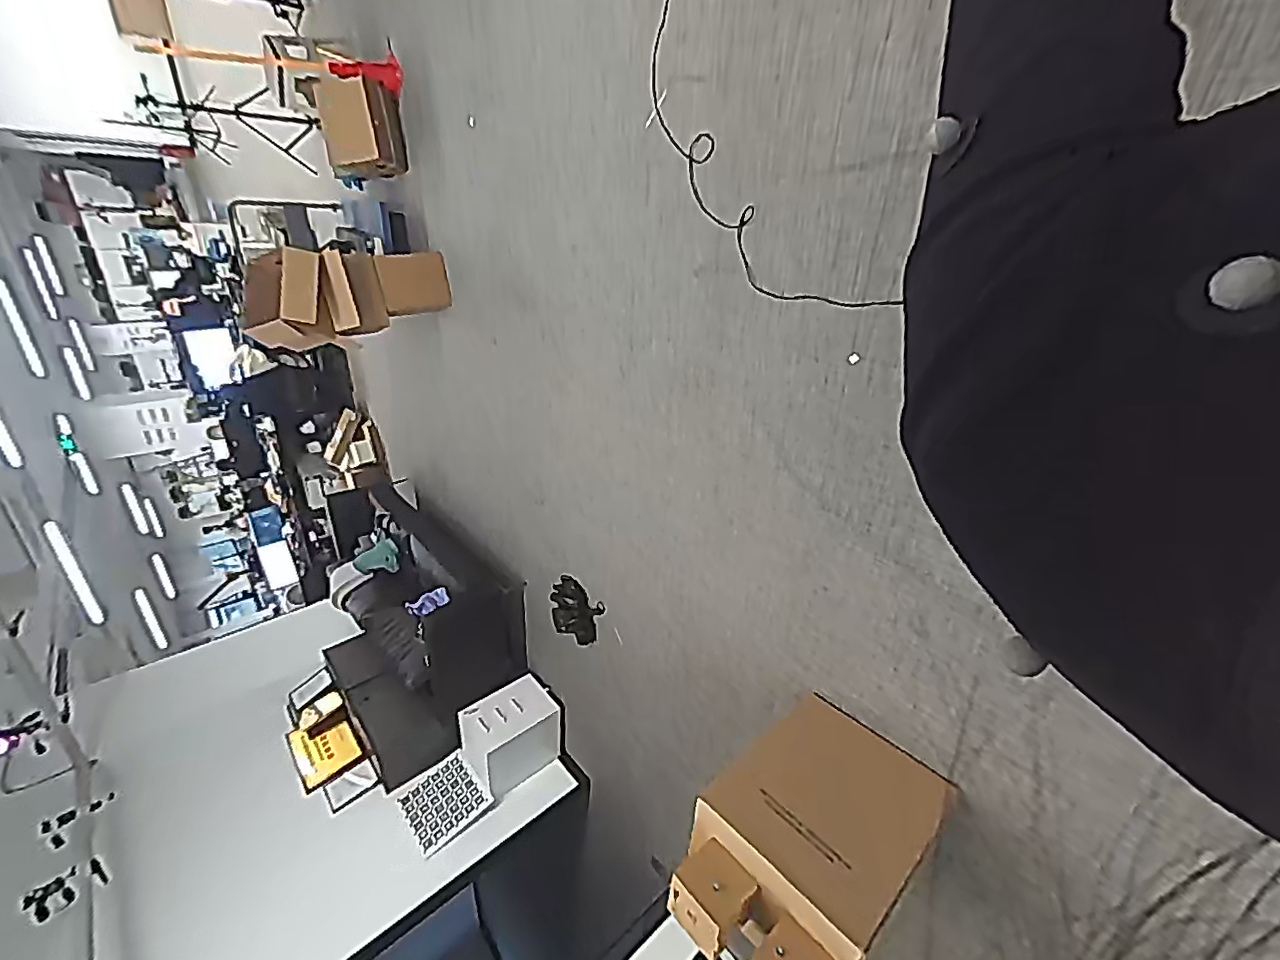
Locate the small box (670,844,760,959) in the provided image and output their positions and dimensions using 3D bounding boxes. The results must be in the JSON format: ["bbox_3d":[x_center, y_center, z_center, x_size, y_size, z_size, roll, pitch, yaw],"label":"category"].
[{"bbox_3d":[0.211,1.180,1.517,0.179,0.176,0.168,27,121,40],"label":"small box"}]

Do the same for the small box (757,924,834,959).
[{"bbox_3d":[0.390,1.264,1.344,0.179,0.176,0.168,23,120,41],"label":"small box"}]
